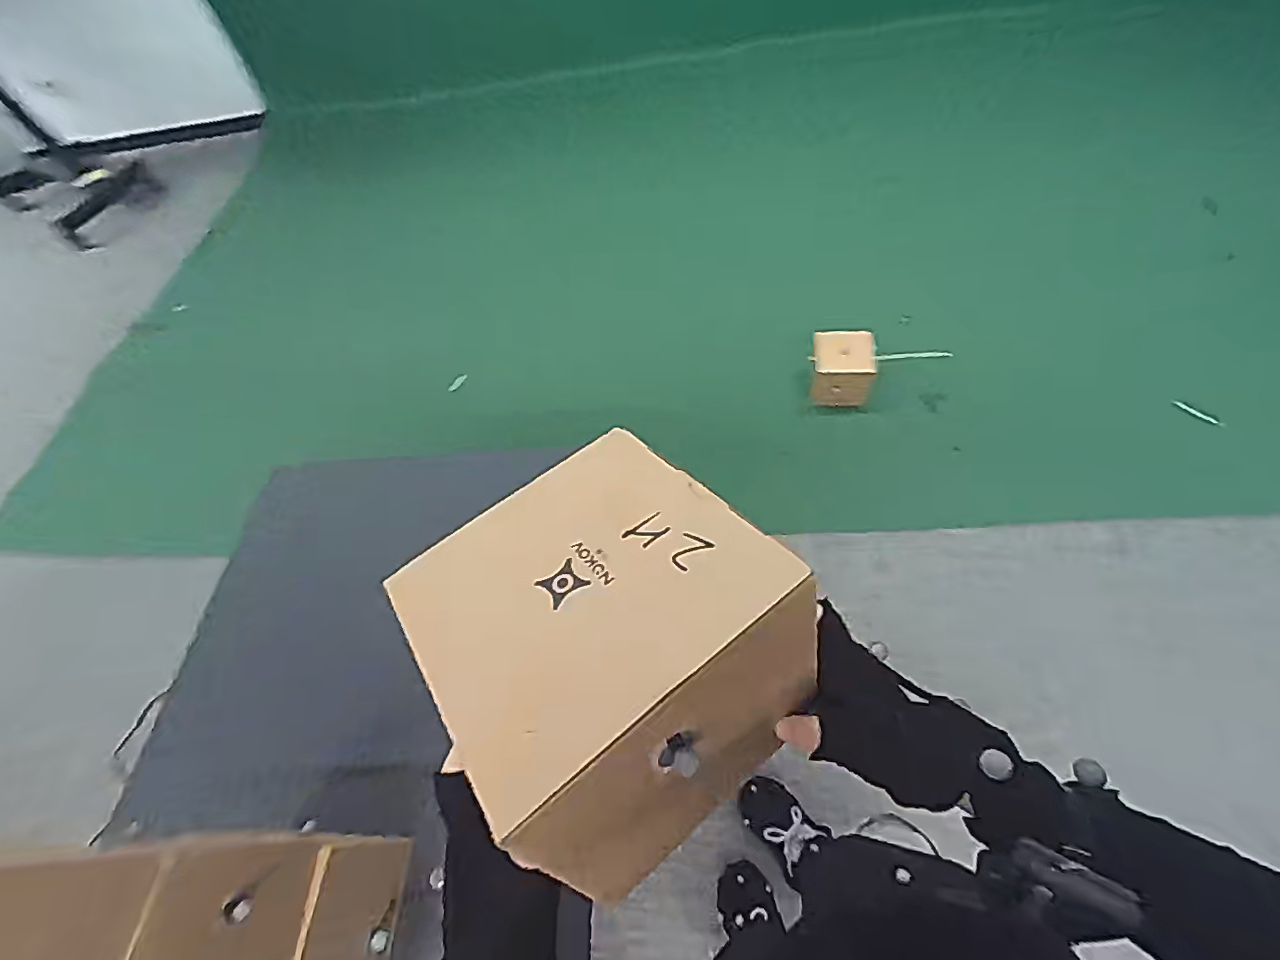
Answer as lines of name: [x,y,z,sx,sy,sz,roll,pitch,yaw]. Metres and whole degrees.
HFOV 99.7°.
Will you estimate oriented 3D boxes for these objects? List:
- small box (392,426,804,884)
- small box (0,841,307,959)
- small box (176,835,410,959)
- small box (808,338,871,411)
small box: [-0.014,0.104,0.337,0.179,0.176,0.168,-33,45,-17]
small box: [-0.400,0.383,0.416,0.168,0.176,0.179,-5,57,8]
small box: [-0.373,0.466,0.553,0.179,0.176,0.168,-2,58,8]
small box: [0.645,-0.339,1.764,0.168,0.176,0.179,1,58,11]
